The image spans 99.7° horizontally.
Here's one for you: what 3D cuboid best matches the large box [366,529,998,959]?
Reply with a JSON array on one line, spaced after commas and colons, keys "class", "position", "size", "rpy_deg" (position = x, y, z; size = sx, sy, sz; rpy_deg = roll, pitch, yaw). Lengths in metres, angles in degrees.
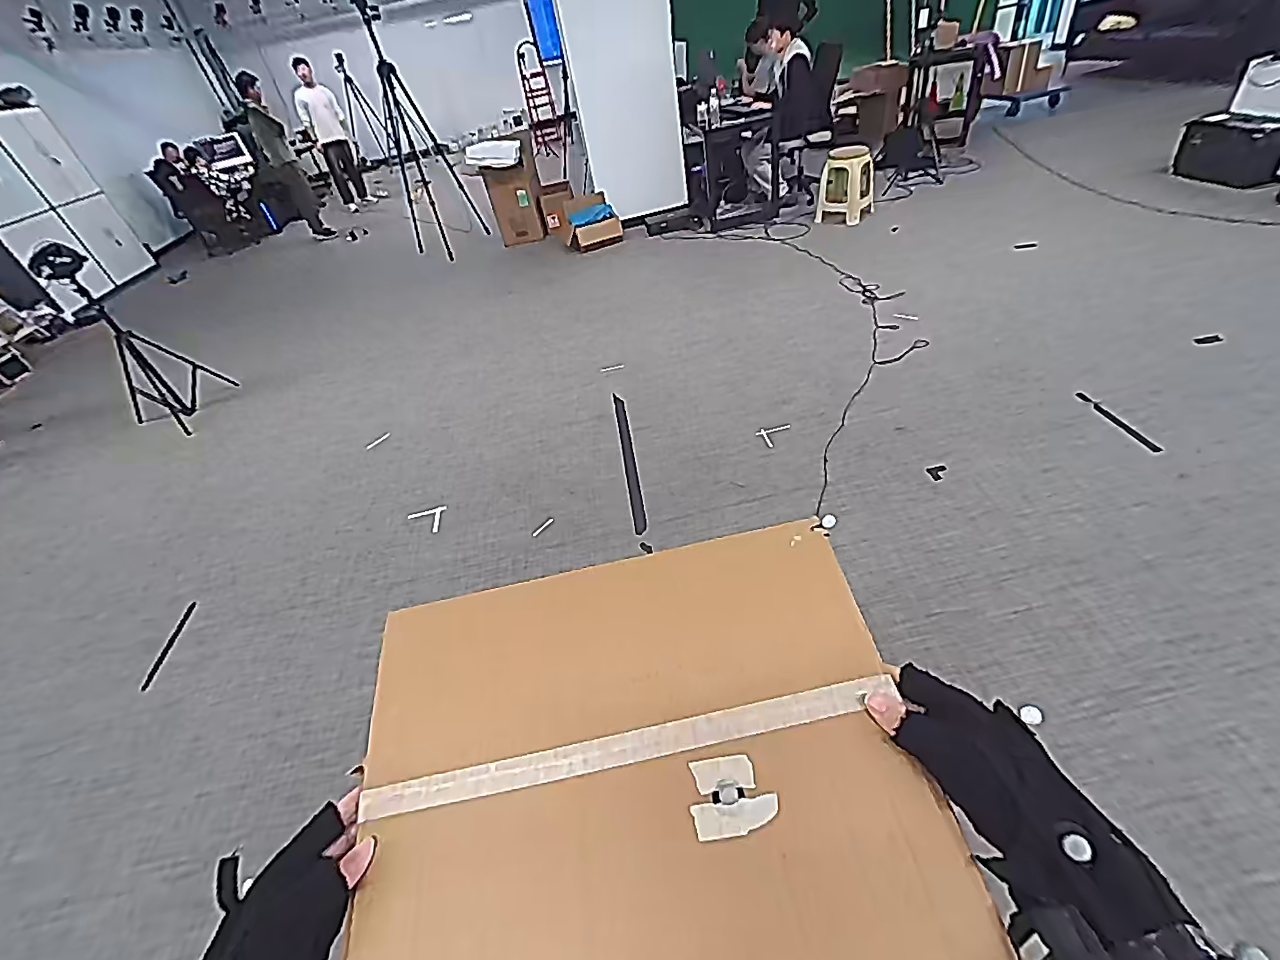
[{"class": "large box", "position": [0.016, 0.297, 0.527], "size": [0.408, 0.320, 0.320], "rpy_deg": [-13, 52, 0]}]
